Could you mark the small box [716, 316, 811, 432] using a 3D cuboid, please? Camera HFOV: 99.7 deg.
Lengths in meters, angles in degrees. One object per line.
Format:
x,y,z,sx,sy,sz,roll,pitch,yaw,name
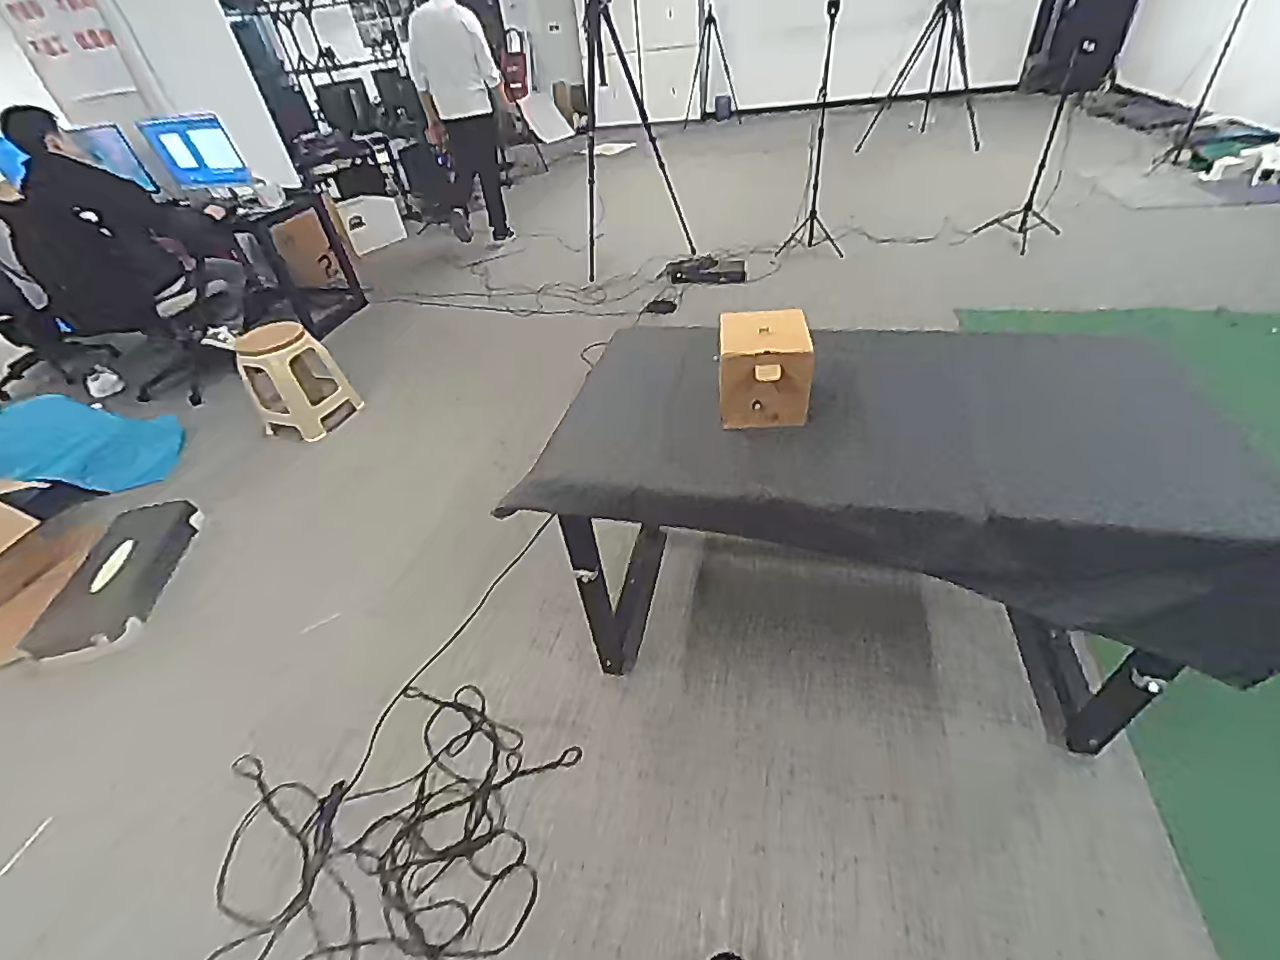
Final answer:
0.237,-0.213,1.082,0.168,0.176,0.179,-1,41,7,small box
